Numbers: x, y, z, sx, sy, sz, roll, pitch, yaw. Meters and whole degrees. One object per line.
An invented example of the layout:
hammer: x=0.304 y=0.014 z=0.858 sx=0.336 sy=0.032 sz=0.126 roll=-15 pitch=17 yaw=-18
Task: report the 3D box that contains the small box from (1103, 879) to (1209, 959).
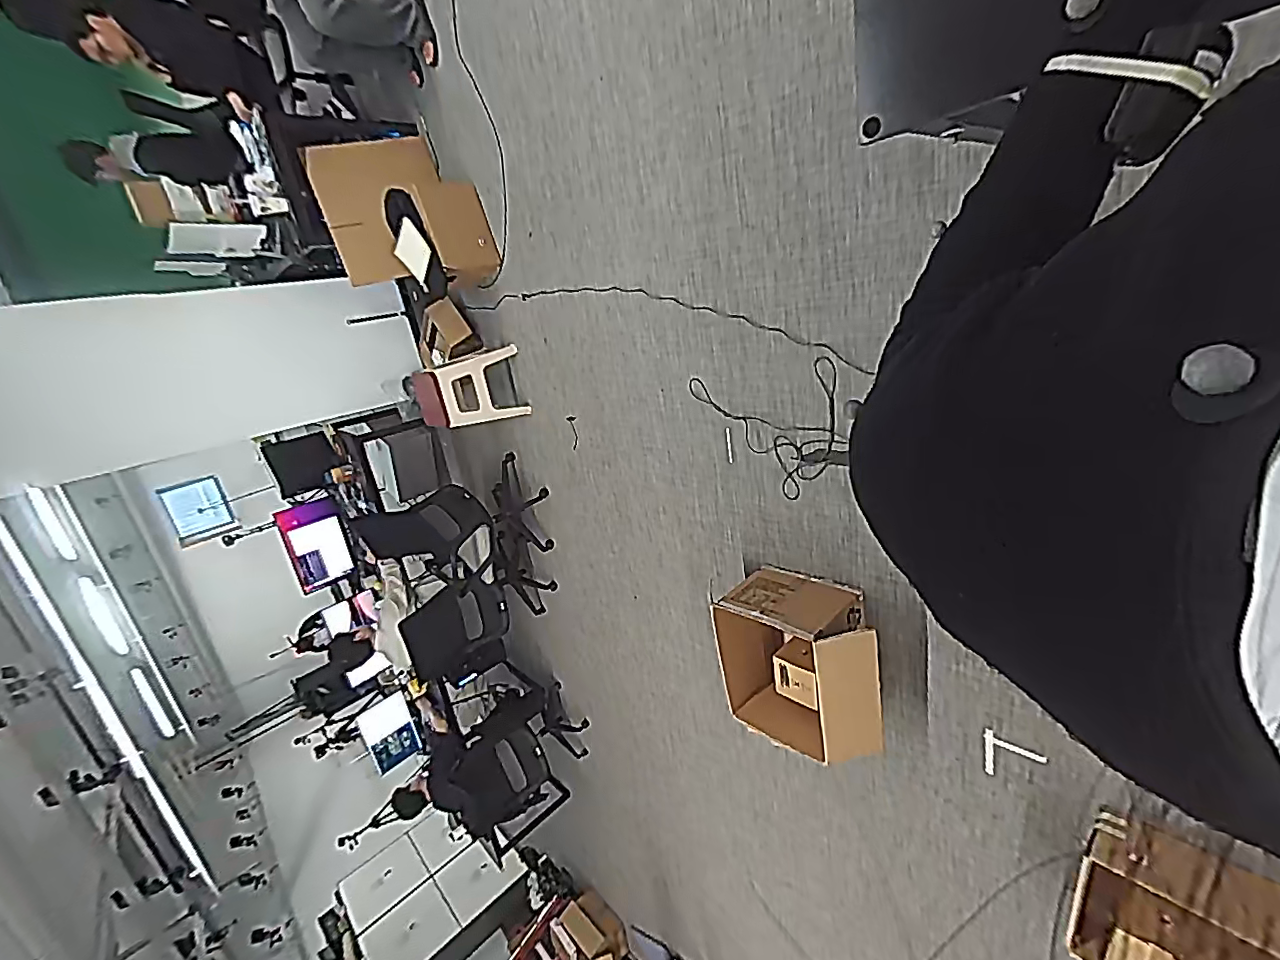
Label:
small box: x=1.307 y=1.177 z=1.370 sx=0.168 sy=0.176 sz=0.179 roll=16 pitch=119 yaw=44
